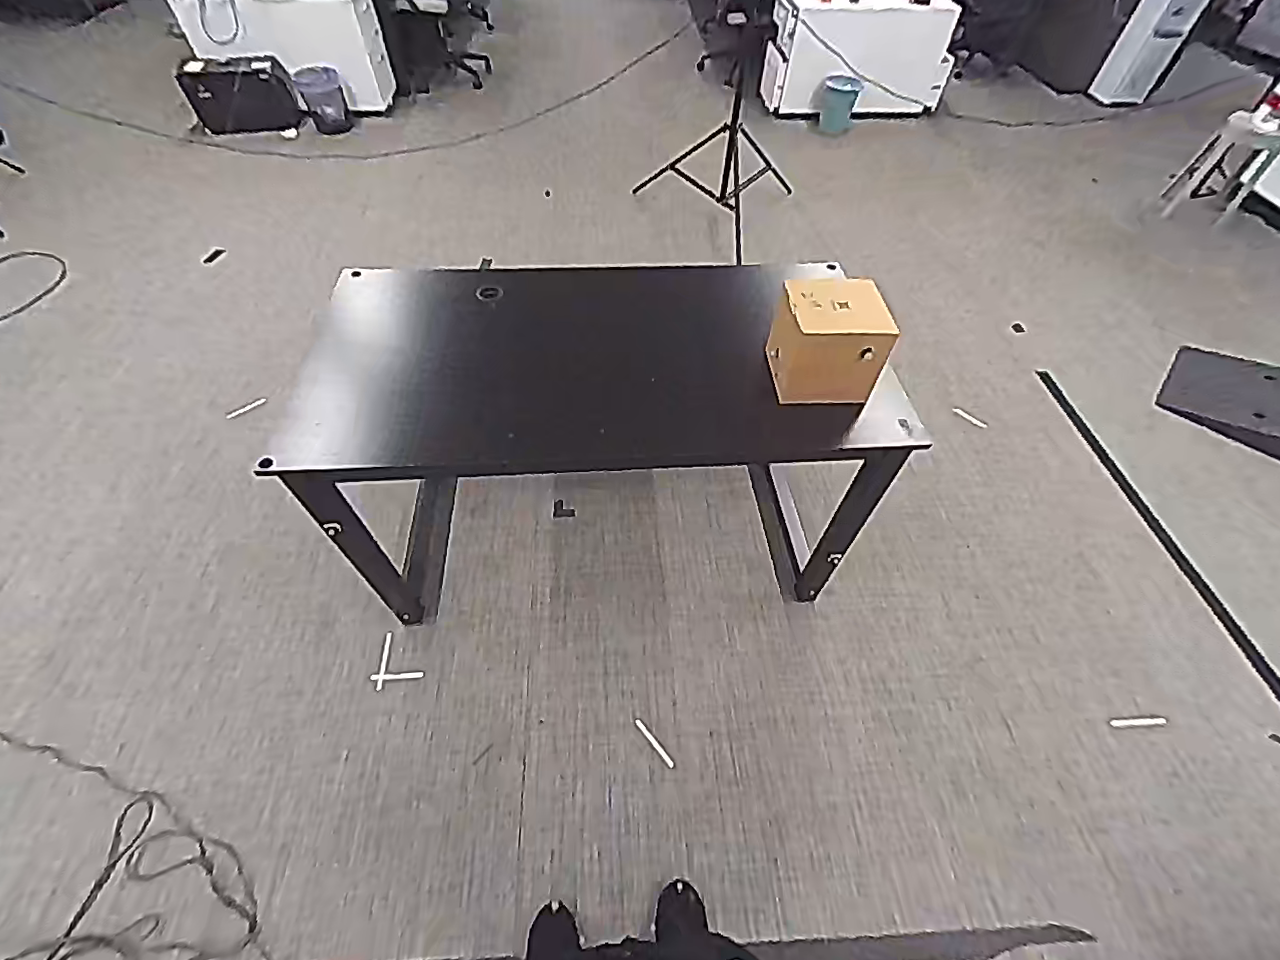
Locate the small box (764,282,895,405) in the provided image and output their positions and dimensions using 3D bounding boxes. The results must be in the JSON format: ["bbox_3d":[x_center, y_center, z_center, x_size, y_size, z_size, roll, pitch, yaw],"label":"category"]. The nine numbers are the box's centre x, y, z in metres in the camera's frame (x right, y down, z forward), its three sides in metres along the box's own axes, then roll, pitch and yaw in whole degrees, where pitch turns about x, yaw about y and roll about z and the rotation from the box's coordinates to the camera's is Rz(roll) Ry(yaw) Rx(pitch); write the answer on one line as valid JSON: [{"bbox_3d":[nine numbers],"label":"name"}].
[{"bbox_3d":[0.353,-0.259,1.041,0.179,0.176,0.168,-1,52,-2],"label":"small box"}]
